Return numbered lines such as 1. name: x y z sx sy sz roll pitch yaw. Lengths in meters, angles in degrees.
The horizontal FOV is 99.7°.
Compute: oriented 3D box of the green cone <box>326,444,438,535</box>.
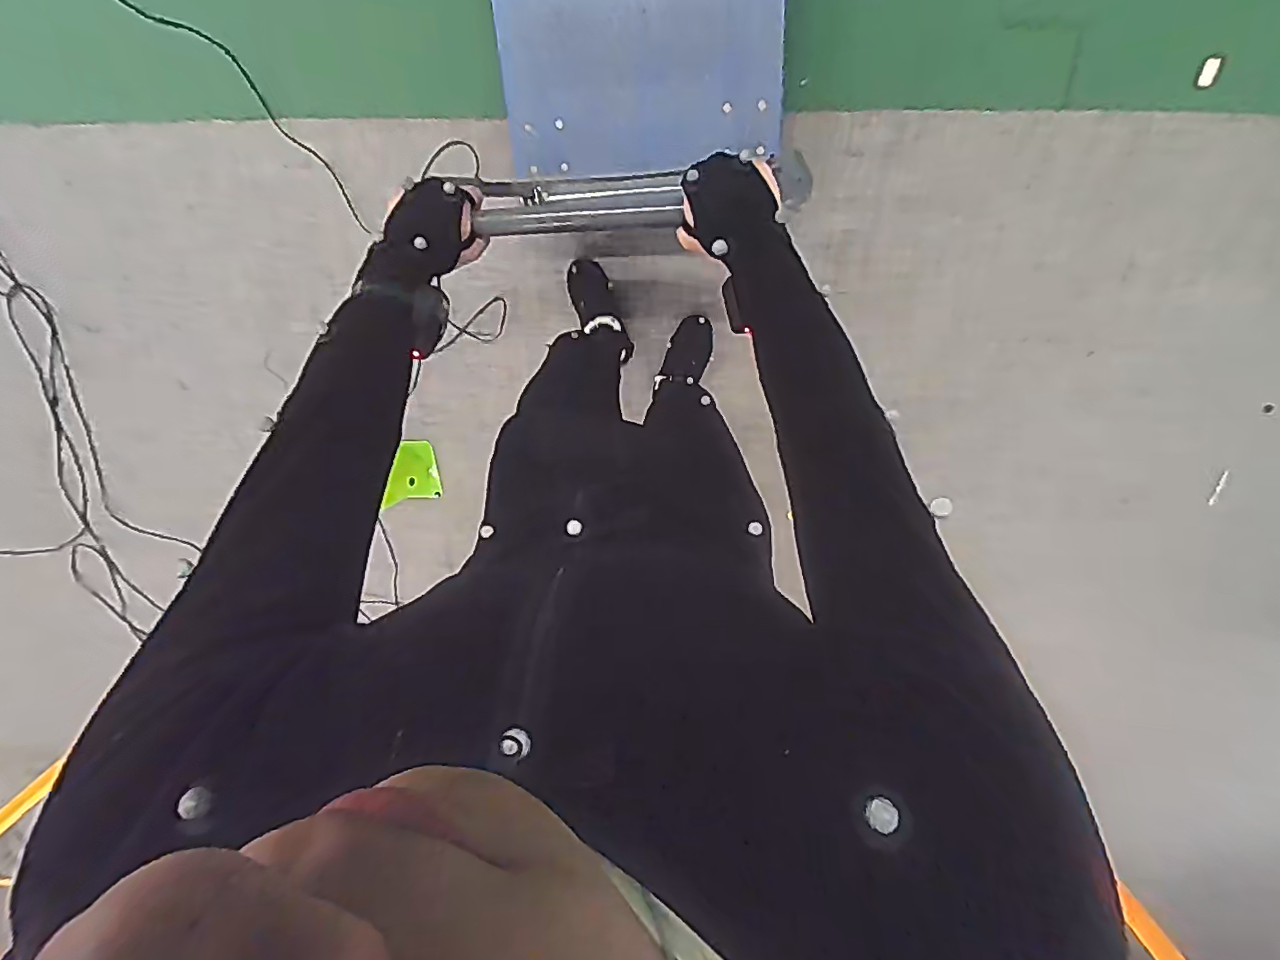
1. green cone: -0.778 0.048 1.576 0.202 0.368 0.200 0 115 8
